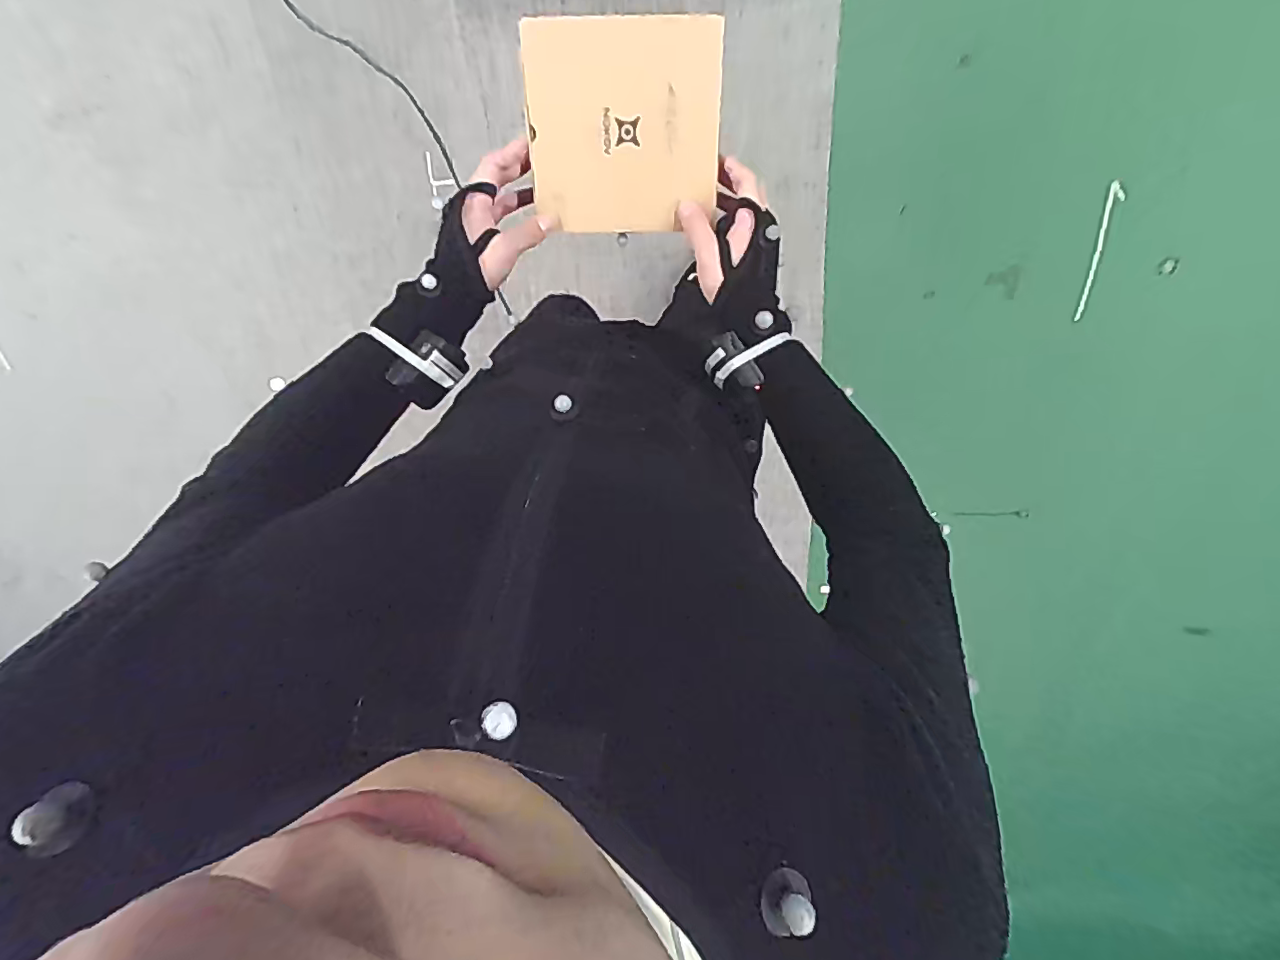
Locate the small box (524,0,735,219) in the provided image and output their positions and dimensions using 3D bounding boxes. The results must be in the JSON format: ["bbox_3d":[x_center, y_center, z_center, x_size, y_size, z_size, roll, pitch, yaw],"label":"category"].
[{"bbox_3d":[-0.009,-0.358,0.548,0.179,0.176,0.168,1,118,0],"label":"small box"}]
